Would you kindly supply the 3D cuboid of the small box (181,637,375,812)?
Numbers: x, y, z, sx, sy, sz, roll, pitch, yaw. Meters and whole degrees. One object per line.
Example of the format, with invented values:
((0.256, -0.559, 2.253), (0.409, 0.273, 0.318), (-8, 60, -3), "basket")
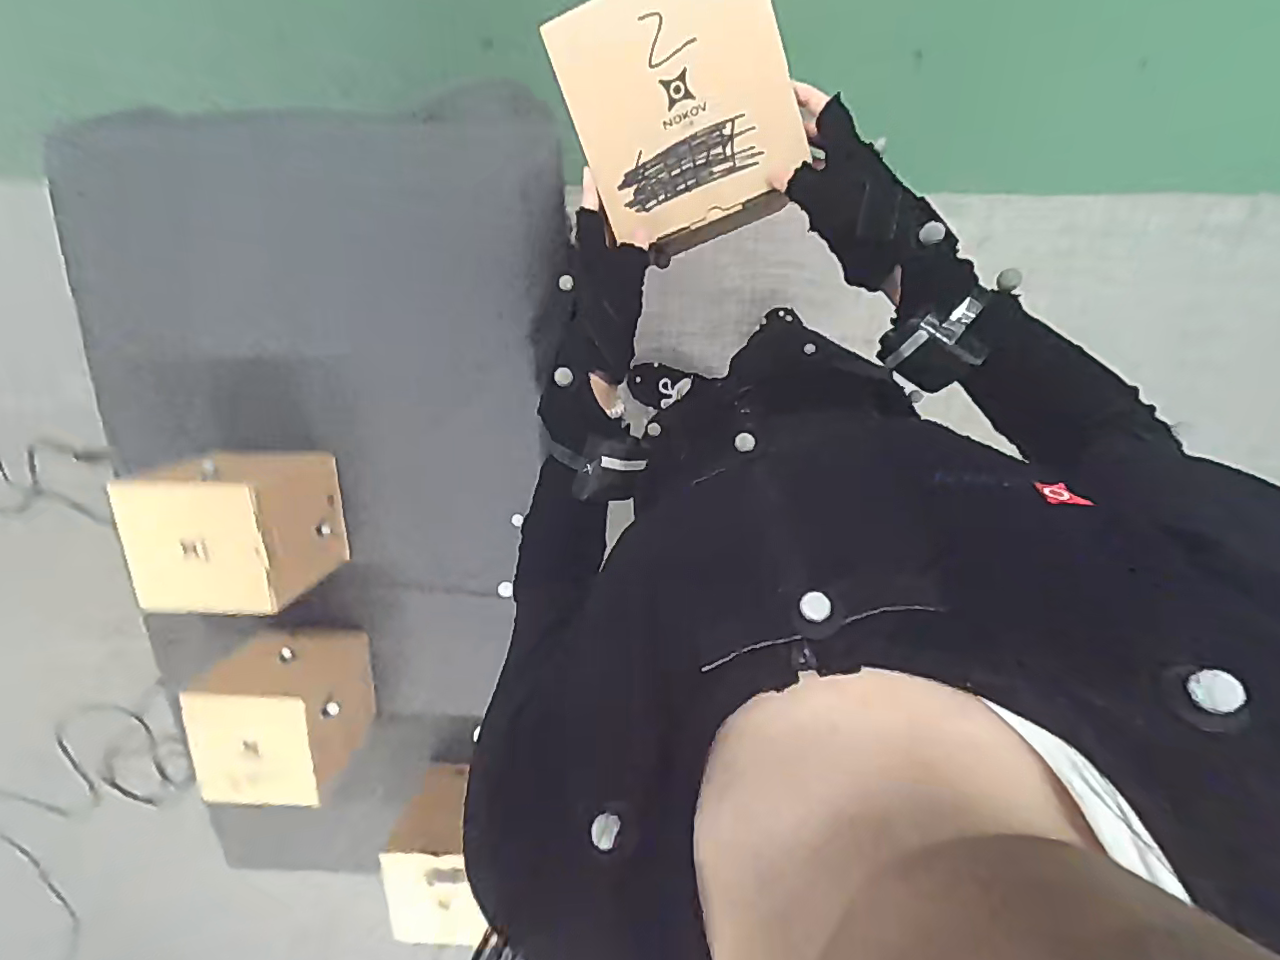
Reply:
((-0.515, 0.350, 0.798), (0.168, 0.176, 0.179), (2, 105, 1), "small box")

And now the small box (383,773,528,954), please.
((-0.279, 0.595, 0.856), (0.168, 0.176, 0.179), (0, 105, 3), "small box")

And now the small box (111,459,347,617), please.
((-0.532, 0.069, 0.727), (0.179, 0.176, 0.168), (0, 105, 1), "small box")
